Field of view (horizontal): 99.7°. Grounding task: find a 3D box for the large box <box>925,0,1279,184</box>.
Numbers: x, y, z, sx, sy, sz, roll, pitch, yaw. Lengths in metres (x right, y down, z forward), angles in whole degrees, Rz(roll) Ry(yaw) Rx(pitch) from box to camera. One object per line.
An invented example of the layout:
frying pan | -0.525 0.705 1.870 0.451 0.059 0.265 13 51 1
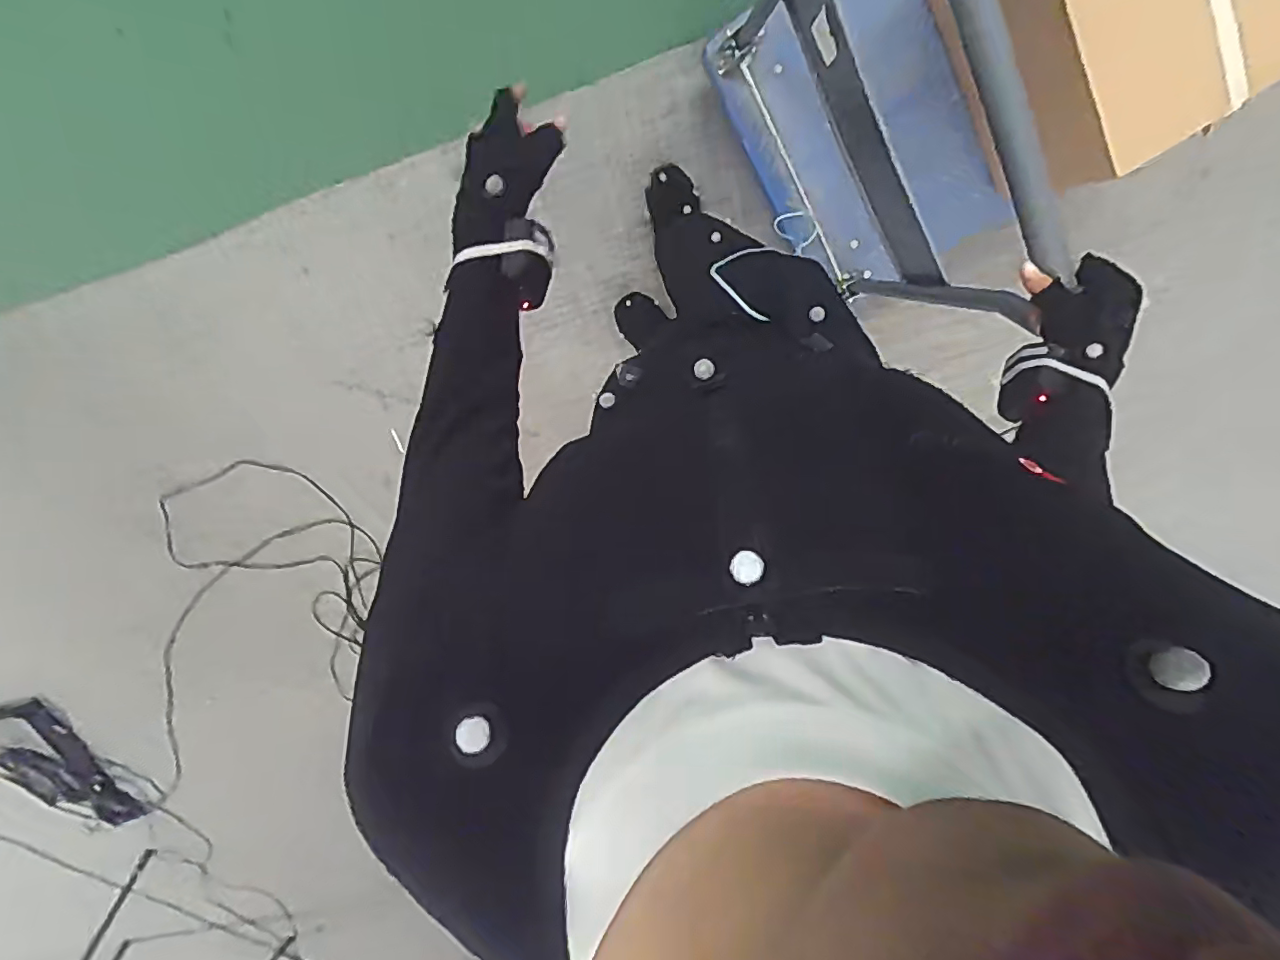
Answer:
large box | 0.718 -0.748 0.840 0.320 0.320 0.408 -32 109 14
